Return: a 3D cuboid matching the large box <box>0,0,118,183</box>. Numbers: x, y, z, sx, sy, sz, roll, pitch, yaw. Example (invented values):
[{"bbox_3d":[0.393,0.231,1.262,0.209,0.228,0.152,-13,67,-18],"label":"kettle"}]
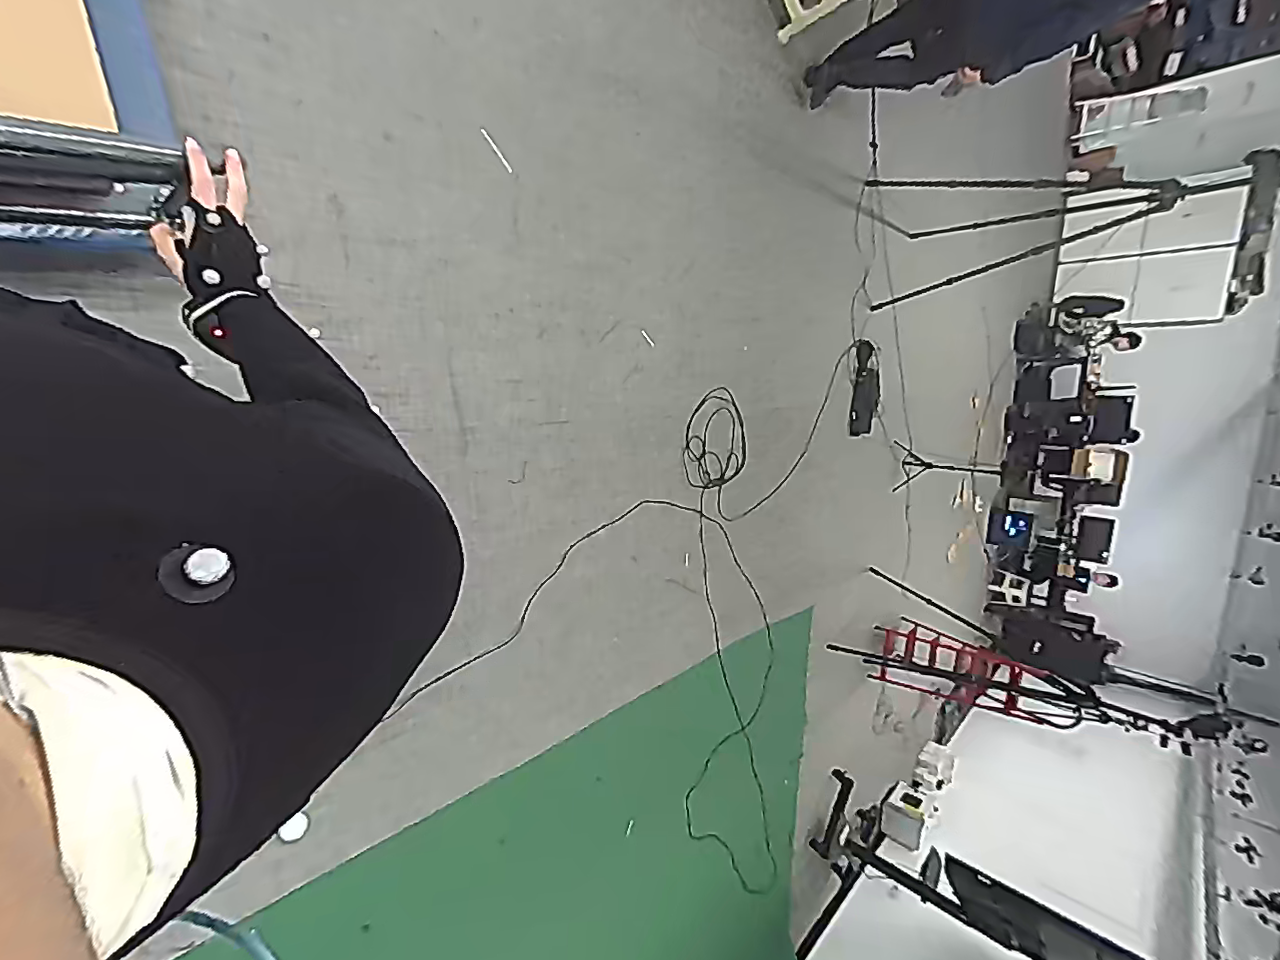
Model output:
[{"bbox_3d":[-1.020,-0.692,0.772,0.320,0.320,0.408,-19,110,-42],"label":"large box"}]
